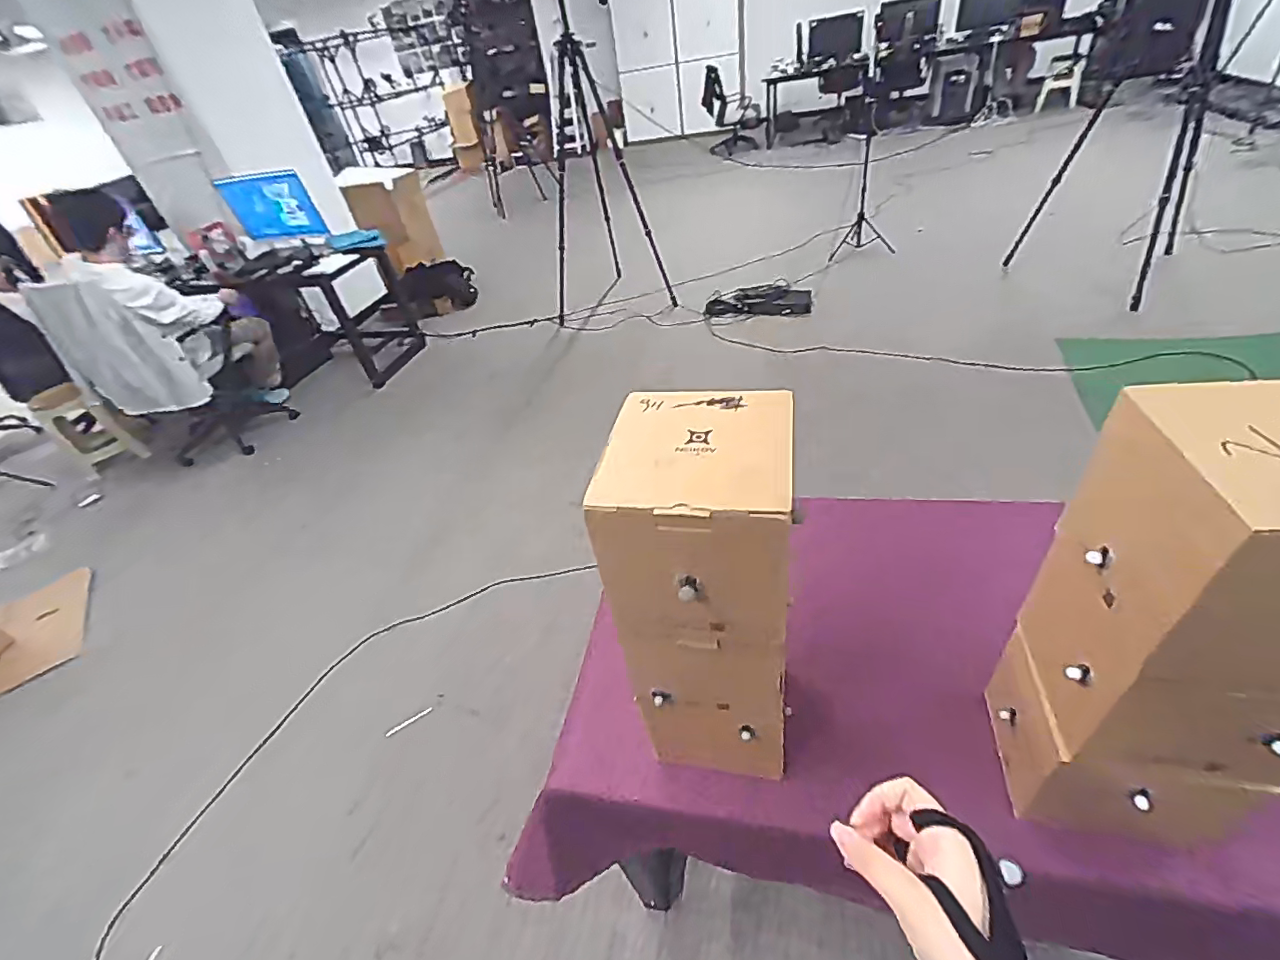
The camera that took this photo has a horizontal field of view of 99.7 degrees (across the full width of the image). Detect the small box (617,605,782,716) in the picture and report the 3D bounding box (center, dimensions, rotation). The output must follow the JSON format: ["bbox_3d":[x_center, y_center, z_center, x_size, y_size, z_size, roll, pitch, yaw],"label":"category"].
[{"bbox_3d":[0.083,0.153,0.640,0.168,0.176,0.179,2,40,14],"label":"small box"}]

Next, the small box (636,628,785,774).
[{"bbox_3d":[0.106,0.278,0.743,0.179,0.176,0.168,2,41,14],"label":"small box"}]

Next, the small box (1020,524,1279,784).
[{"bbox_3d":[0.506,0.165,0.524,0.168,0.176,0.179,2,41,14],"label":"small box"}]

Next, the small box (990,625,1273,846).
[{"bbox_3d":[0.529,0.292,0.624,0.179,0.176,0.168,3,42,16],"label":"small box"}]

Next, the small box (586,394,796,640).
[{"bbox_3d":[0.063,0.033,0.528,0.168,0.176,0.179,3,42,14],"label":"small box"}]
